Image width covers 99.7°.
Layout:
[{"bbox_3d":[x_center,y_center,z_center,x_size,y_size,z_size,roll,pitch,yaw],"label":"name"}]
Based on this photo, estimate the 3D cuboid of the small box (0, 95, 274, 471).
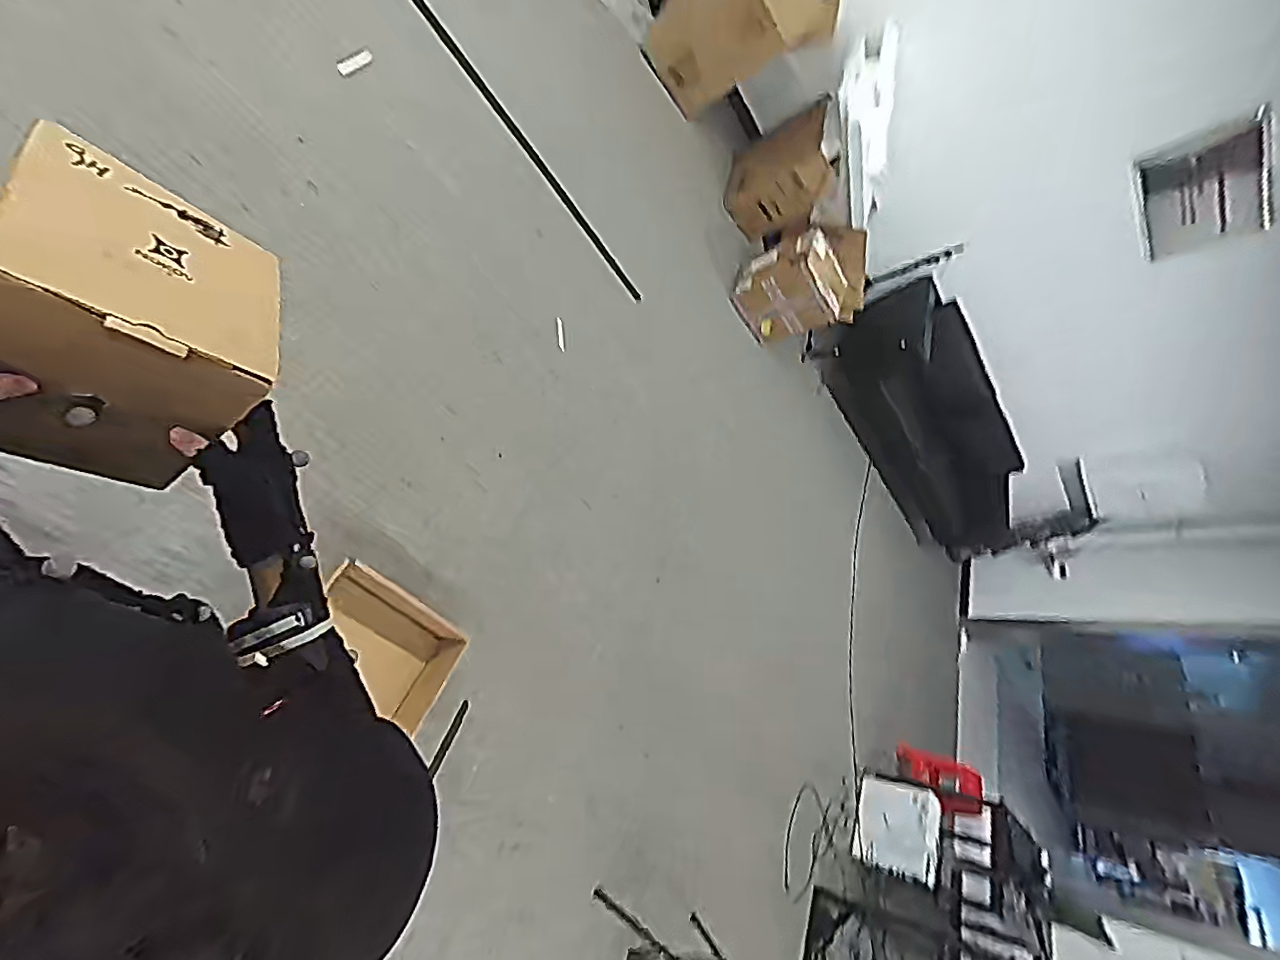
[{"bbox_3d":[-0.421,-0.133,0.421,0.168,0.176,0.179,31,31,-55],"label":"small box"}]
